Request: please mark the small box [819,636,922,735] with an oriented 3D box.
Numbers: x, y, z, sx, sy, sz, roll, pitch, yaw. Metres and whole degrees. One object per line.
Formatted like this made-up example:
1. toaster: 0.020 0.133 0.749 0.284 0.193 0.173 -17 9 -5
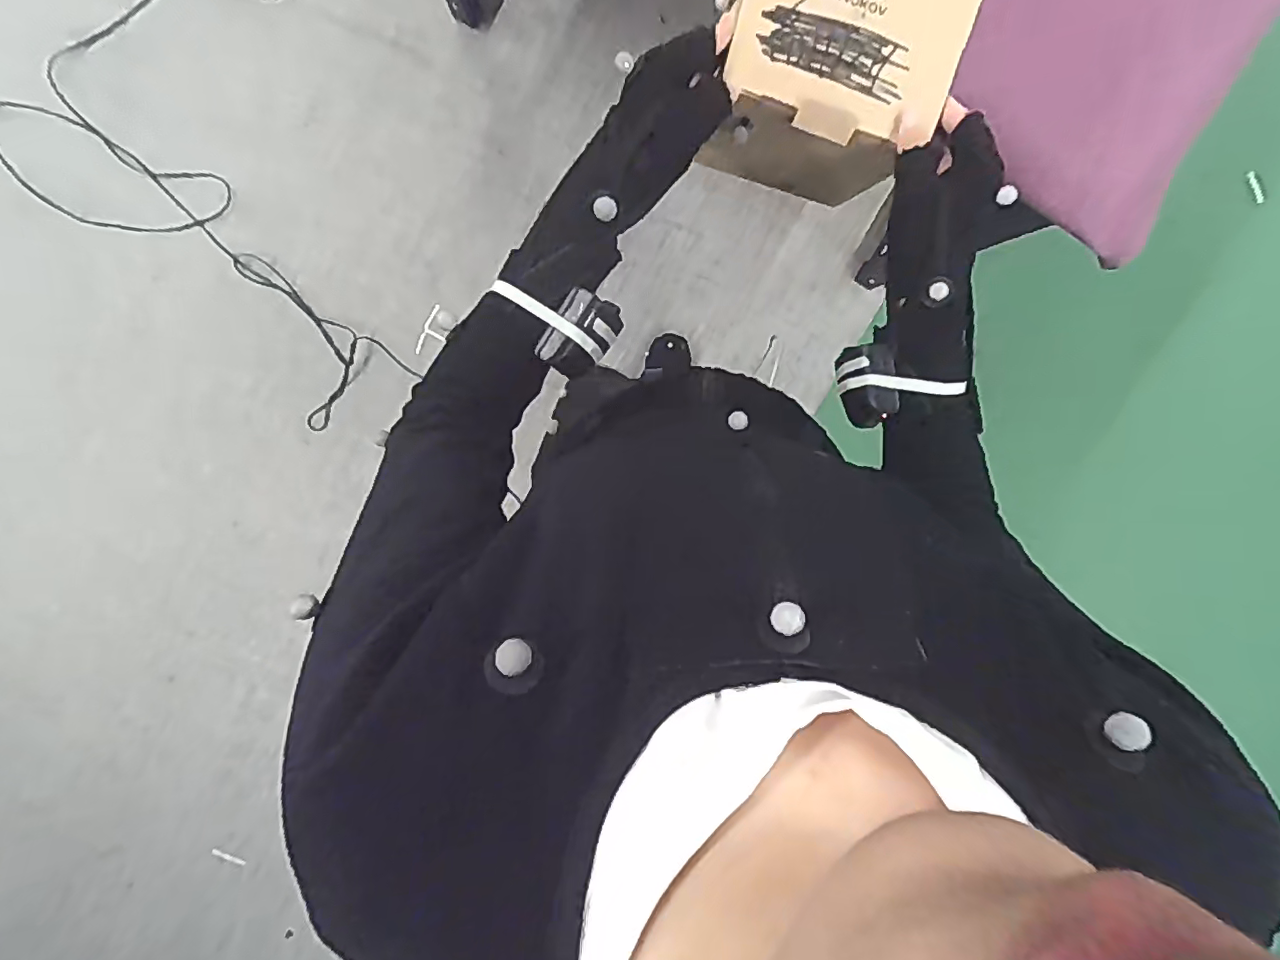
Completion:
1. small box: 0.635 0.565 1.516 0.179 0.176 0.168 29 100 -7
